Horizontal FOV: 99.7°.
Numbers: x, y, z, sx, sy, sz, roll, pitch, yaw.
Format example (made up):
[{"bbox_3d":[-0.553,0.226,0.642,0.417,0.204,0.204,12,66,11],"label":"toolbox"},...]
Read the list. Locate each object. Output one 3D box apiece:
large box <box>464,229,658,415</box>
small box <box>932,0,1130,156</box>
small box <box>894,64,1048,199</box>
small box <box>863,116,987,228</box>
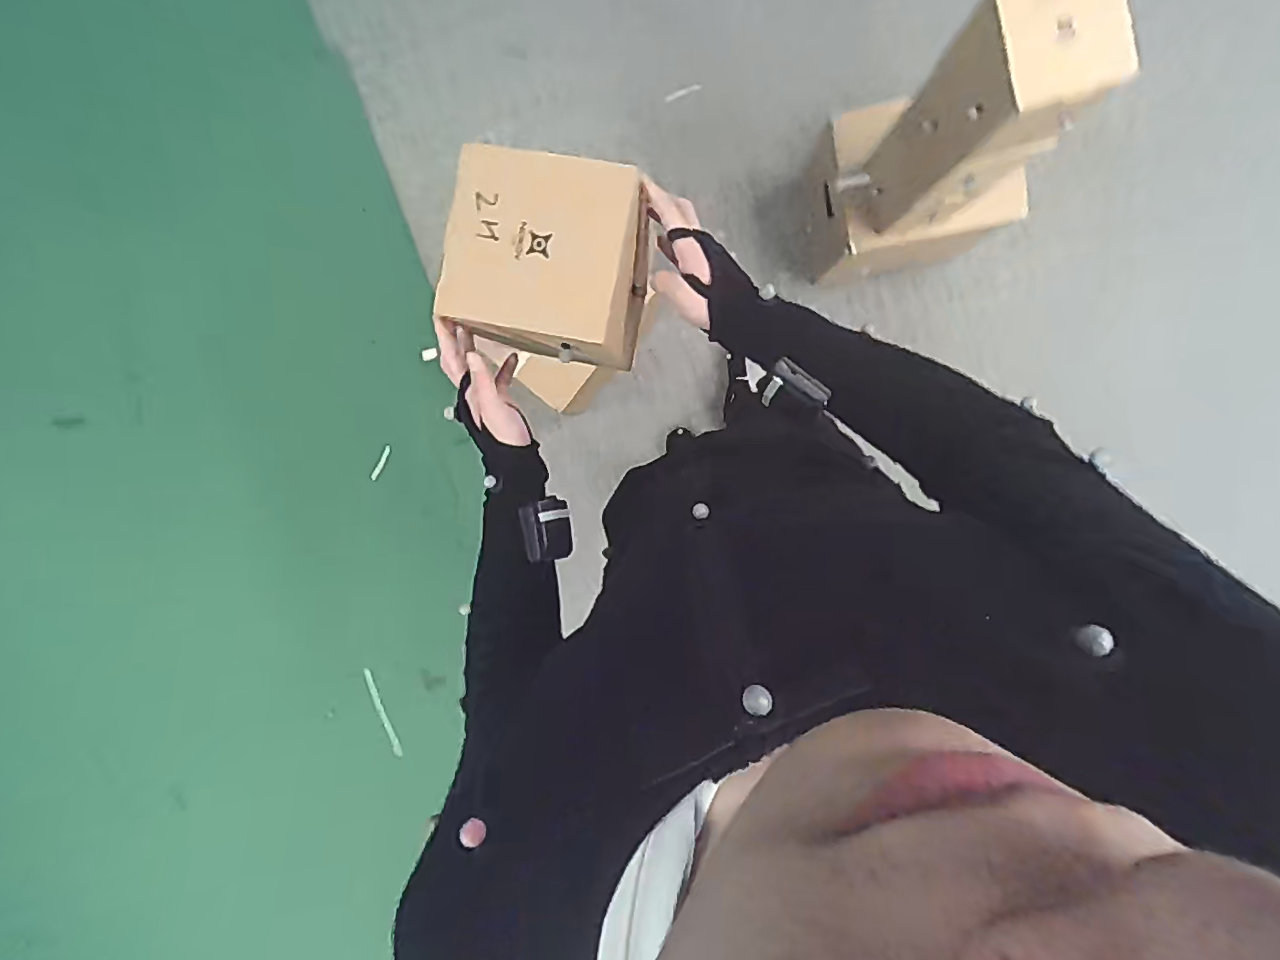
[{"bbox_3d":[-0.188,-0.425,1.453,0.320,0.320,0.408,38,98,0],"label":"large box"},{"bbox_3d":[0.572,-0.622,0.814,0.168,0.176,0.179,-15,94,4],"label":"small box"},{"bbox_3d":[0.585,-0.634,0.976,0.168,0.176,0.179,-14,94,5],"label":"small box"},{"bbox_3d":[0.591,-0.653,1.138,0.168,0.176,0.179,-13,96,4],"label":"small box"}]
